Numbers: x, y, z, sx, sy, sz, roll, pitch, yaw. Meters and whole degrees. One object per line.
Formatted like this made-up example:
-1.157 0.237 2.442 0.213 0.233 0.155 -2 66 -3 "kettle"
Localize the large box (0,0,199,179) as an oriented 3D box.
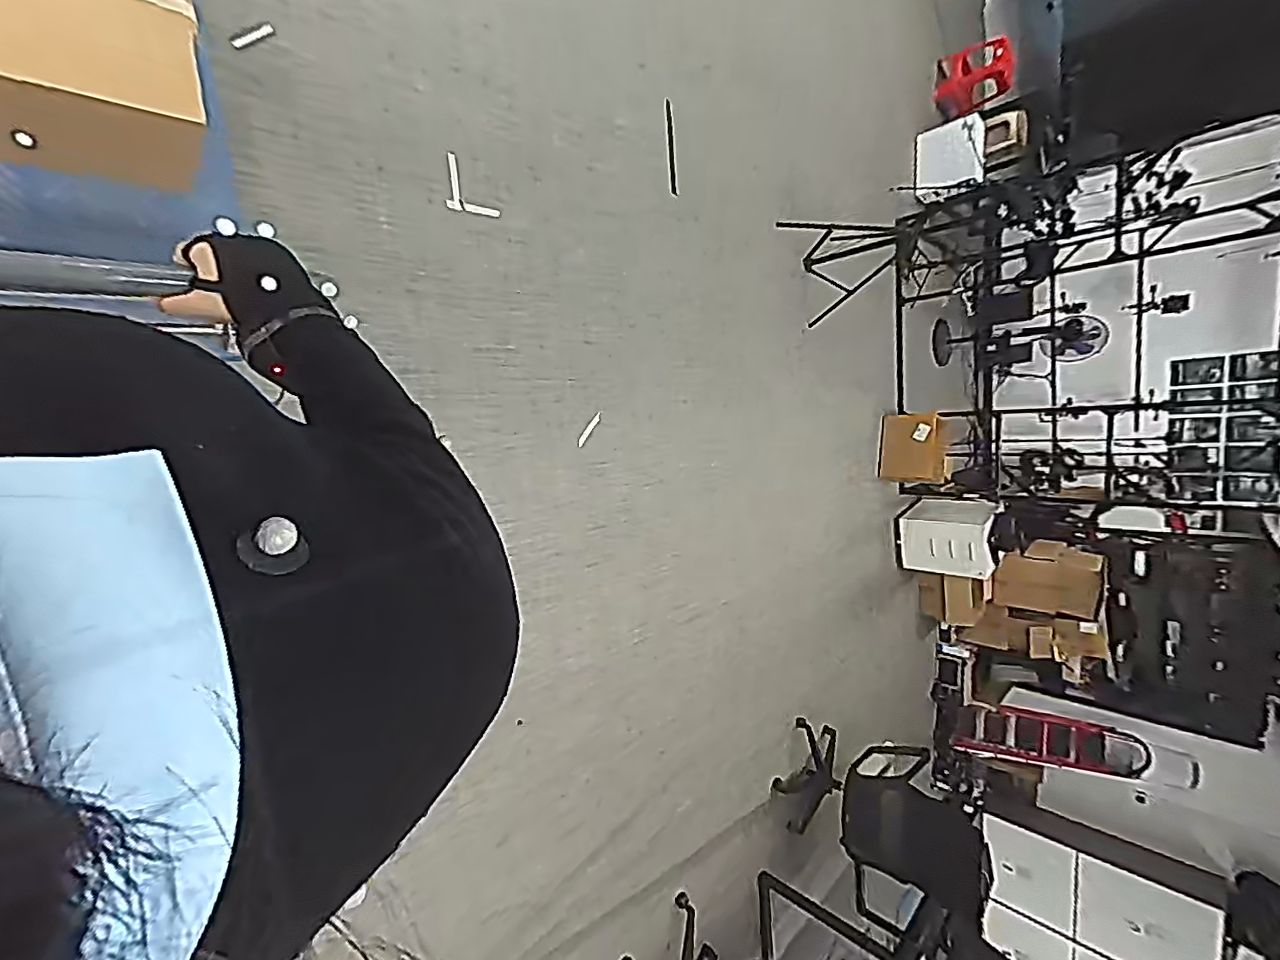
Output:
-0.924 -0.678 0.770 0.408 0.320 0.320 -12 100 -43 "large box"
